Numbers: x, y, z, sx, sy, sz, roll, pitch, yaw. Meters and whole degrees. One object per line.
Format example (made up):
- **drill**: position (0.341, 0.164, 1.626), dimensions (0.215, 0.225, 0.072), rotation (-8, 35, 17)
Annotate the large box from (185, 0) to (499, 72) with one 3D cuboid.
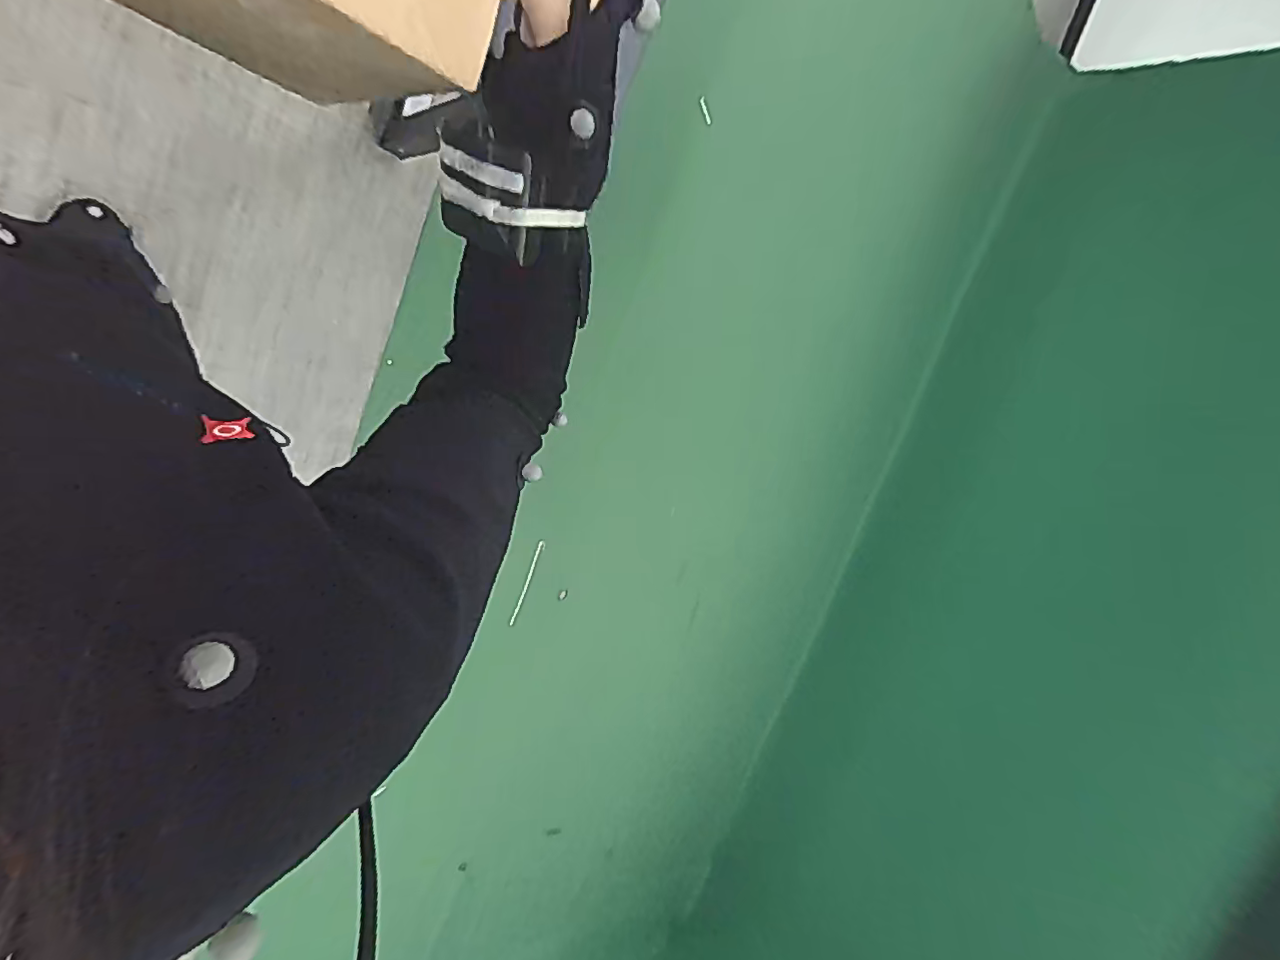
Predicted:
- **large box**: position (-0.256, -0.422, 0.177), dimensions (0.408, 0.320, 0.320), rotation (5, 113, -46)
